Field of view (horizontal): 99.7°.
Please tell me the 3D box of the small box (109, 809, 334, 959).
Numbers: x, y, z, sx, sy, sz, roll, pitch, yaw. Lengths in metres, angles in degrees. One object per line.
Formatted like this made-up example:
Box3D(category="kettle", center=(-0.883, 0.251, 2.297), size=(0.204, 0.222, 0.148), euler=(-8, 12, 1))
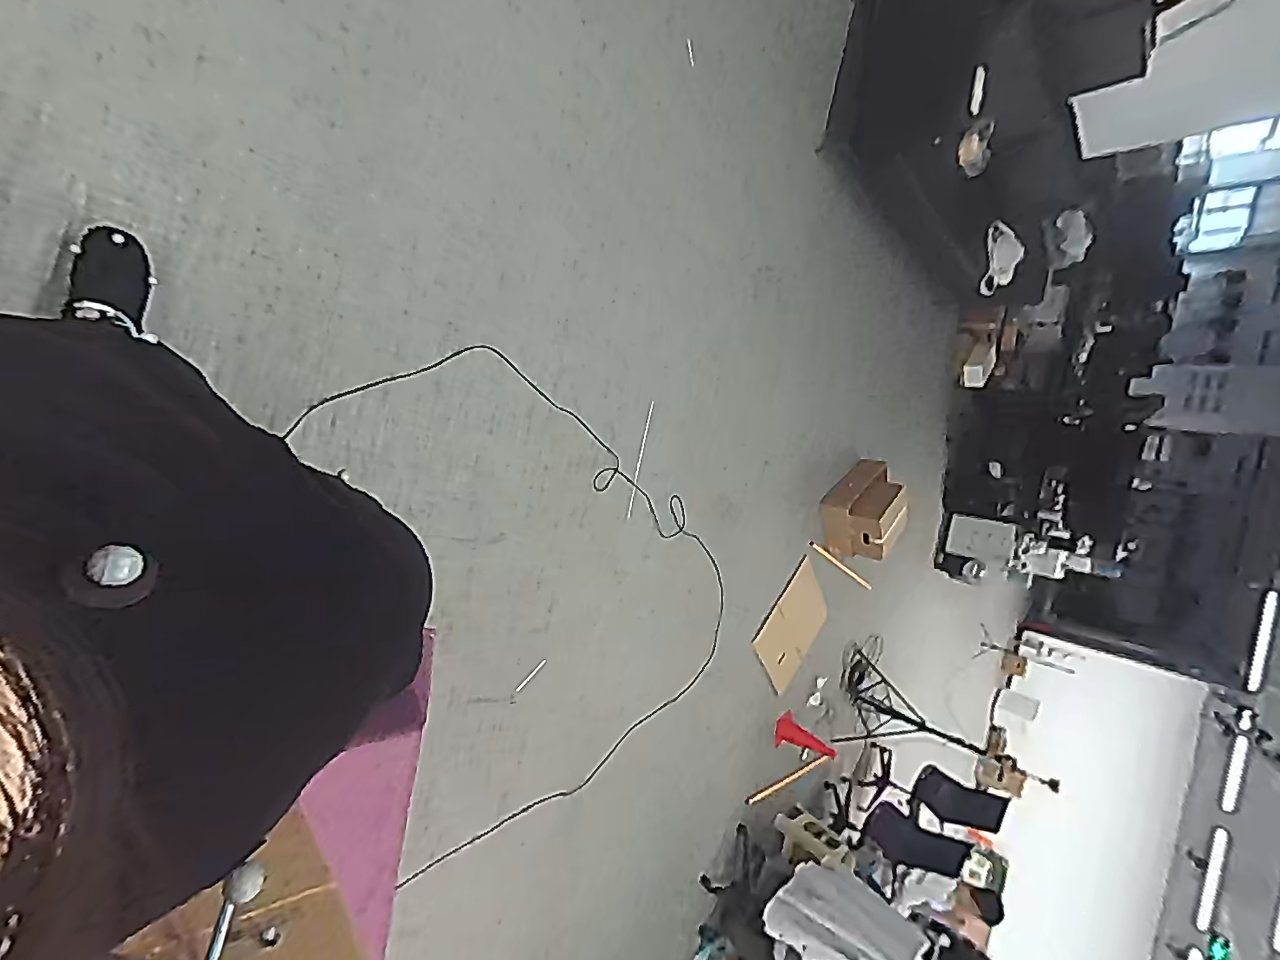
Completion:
Box3D(category="small box", center=(-0.499, 0.534, 0.645), size=(0.179, 0.176, 0.168), euler=(10, 92, -46))
